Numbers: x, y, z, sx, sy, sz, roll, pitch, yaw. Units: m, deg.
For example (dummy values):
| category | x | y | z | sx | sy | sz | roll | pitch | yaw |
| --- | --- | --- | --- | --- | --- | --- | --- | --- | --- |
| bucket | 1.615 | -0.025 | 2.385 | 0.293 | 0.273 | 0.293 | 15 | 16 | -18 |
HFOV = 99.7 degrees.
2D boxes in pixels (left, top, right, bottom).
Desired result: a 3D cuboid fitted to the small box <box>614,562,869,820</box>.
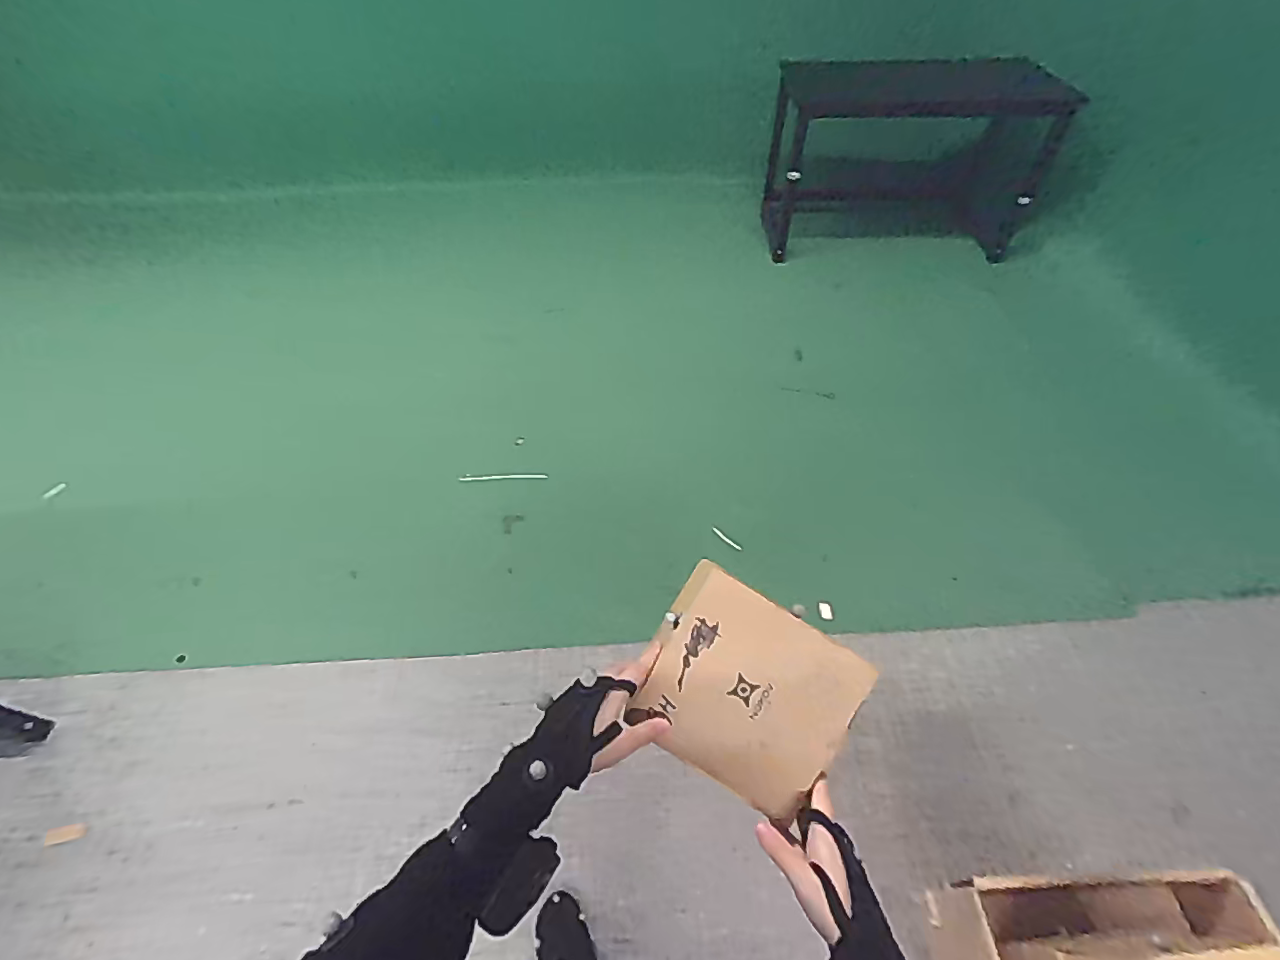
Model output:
| category | x | y | z | sx | sy | sz | roll | pitch | yaw |
| --- | --- | --- | --- | --- | --- | --- | --- | --- | --- |
| small box | 0.094 | 0.194 | 0.563 | 0.179 | 0.176 | 0.168 | 32 | 85 | 5 |
